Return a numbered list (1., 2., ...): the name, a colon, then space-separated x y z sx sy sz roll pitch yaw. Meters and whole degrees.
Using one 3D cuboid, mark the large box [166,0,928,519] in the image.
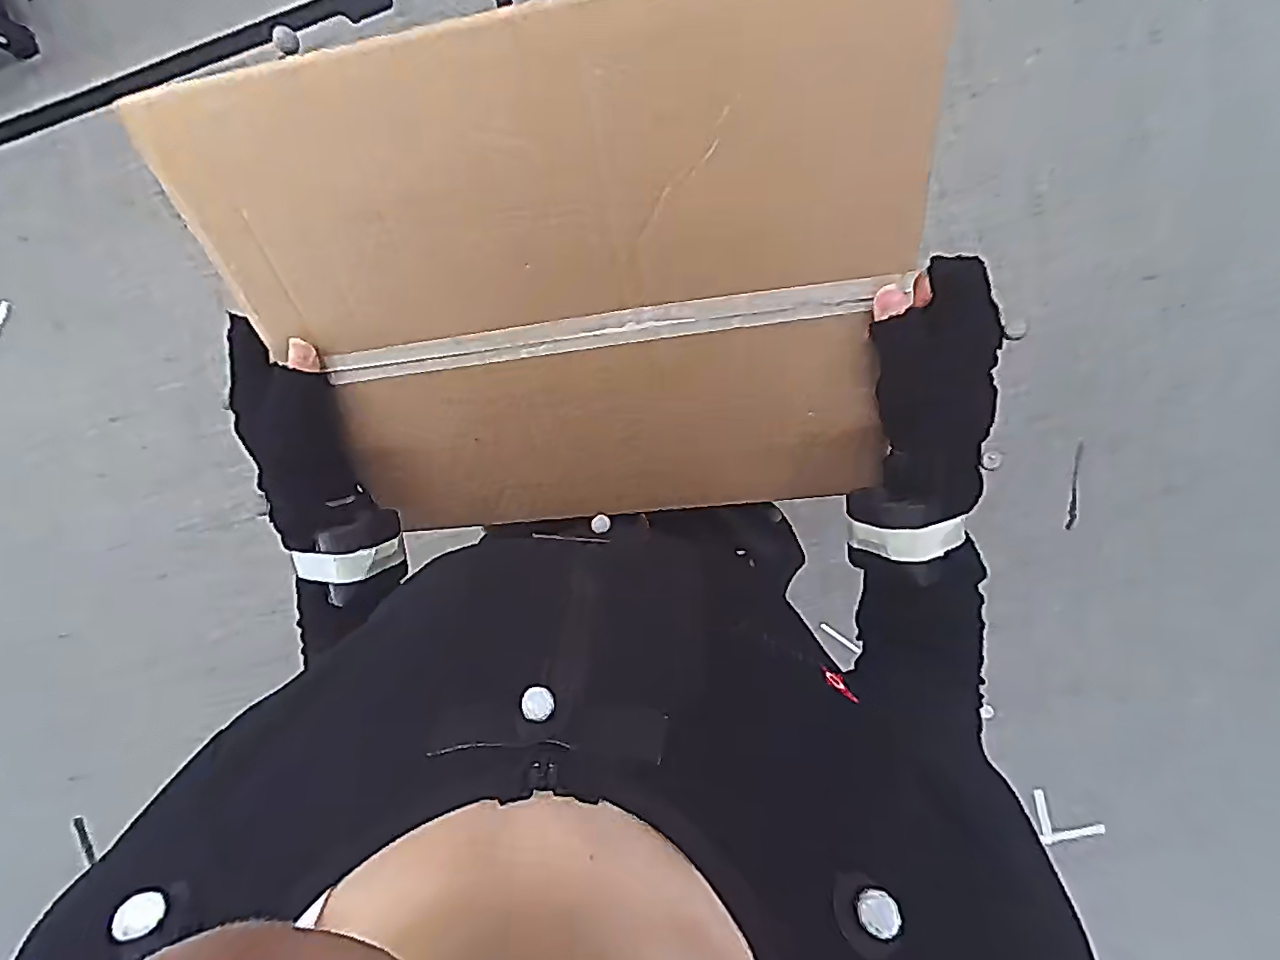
1. large box: -0.034 -0.196 0.468 0.408 0.320 0.320 -5 130 9
